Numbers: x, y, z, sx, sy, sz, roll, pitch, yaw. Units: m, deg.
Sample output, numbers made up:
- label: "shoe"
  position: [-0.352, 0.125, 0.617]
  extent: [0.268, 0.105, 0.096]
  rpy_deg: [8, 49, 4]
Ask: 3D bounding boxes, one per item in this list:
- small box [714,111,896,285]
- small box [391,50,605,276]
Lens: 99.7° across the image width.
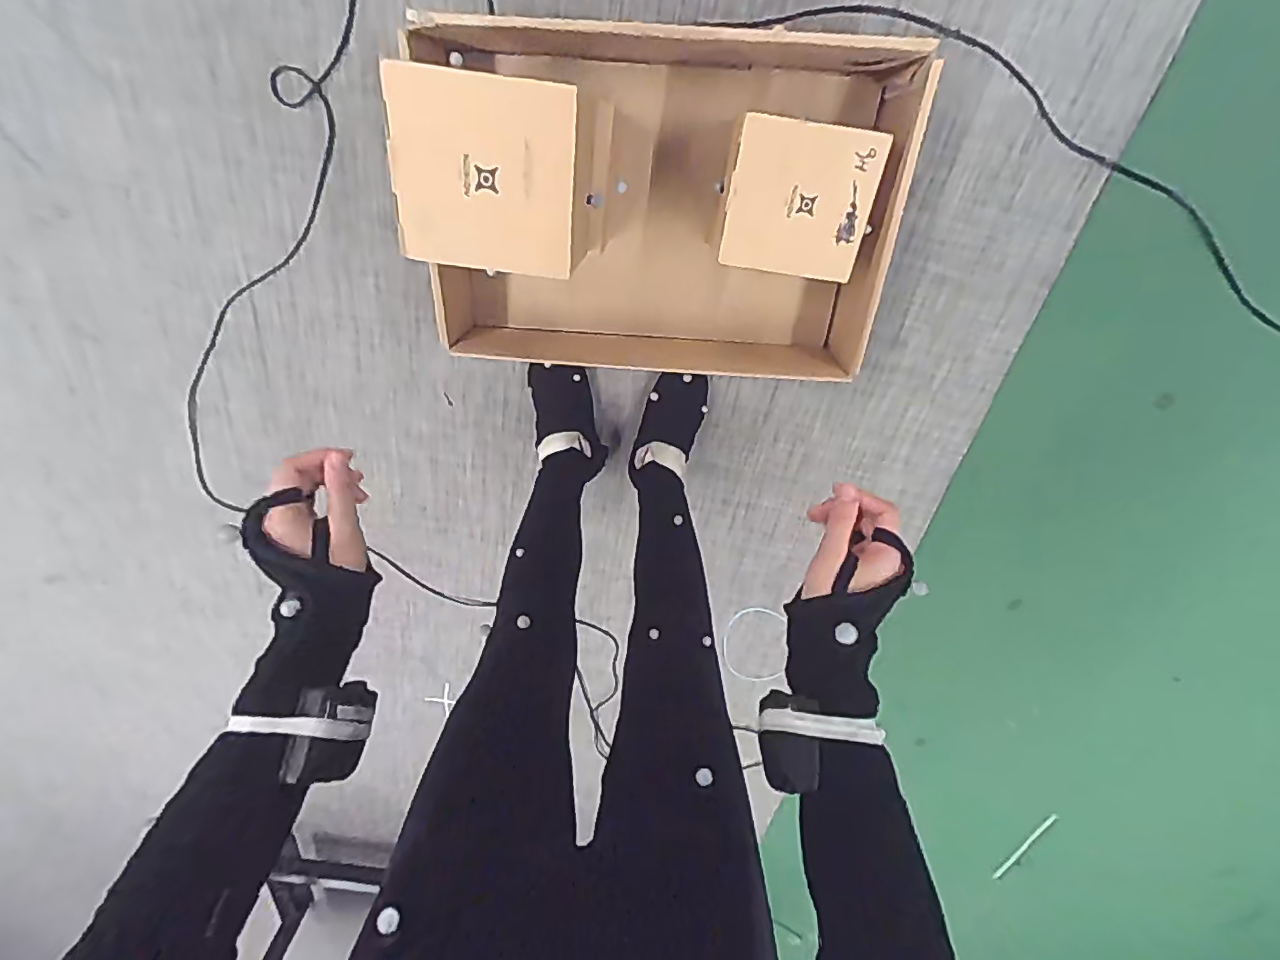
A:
- label: "small box"
  position: [0.201, -0.374, 0.723]
  extent: [0.179, 0.176, 0.168]
  rpy_deg: [9, 120, -2]
- label: "small box"
  position: [-0.138, -0.330, 0.578]
  extent: [0.179, 0.176, 0.168]
  rpy_deg: [8, 122, -3]
